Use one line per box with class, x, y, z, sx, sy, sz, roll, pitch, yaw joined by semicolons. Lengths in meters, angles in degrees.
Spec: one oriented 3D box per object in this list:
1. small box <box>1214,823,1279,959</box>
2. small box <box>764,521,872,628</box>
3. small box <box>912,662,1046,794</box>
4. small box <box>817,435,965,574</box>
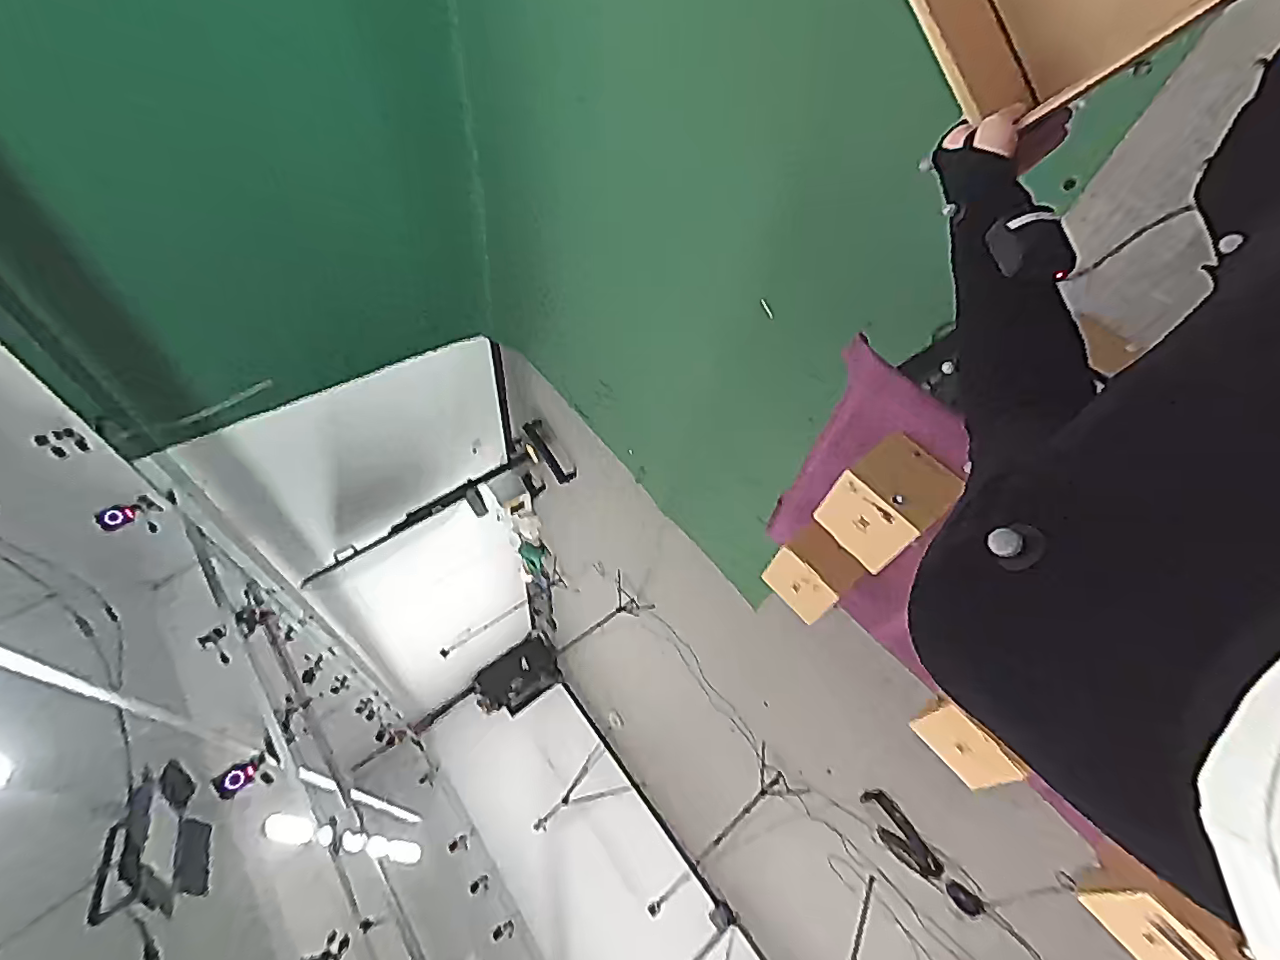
small box;0.986;0.606;0.752;0.168;0.176;0.179;47;152;26
small box;0.439;0.221;1.312;0.168;0.176;0.179;46;149;22
small box;0.721;0.514;1.127;0.168;0.176;0.179;47;150;25
small box;0.487;0.046;1.055;0.168;0.176;0.179;47;153;22
